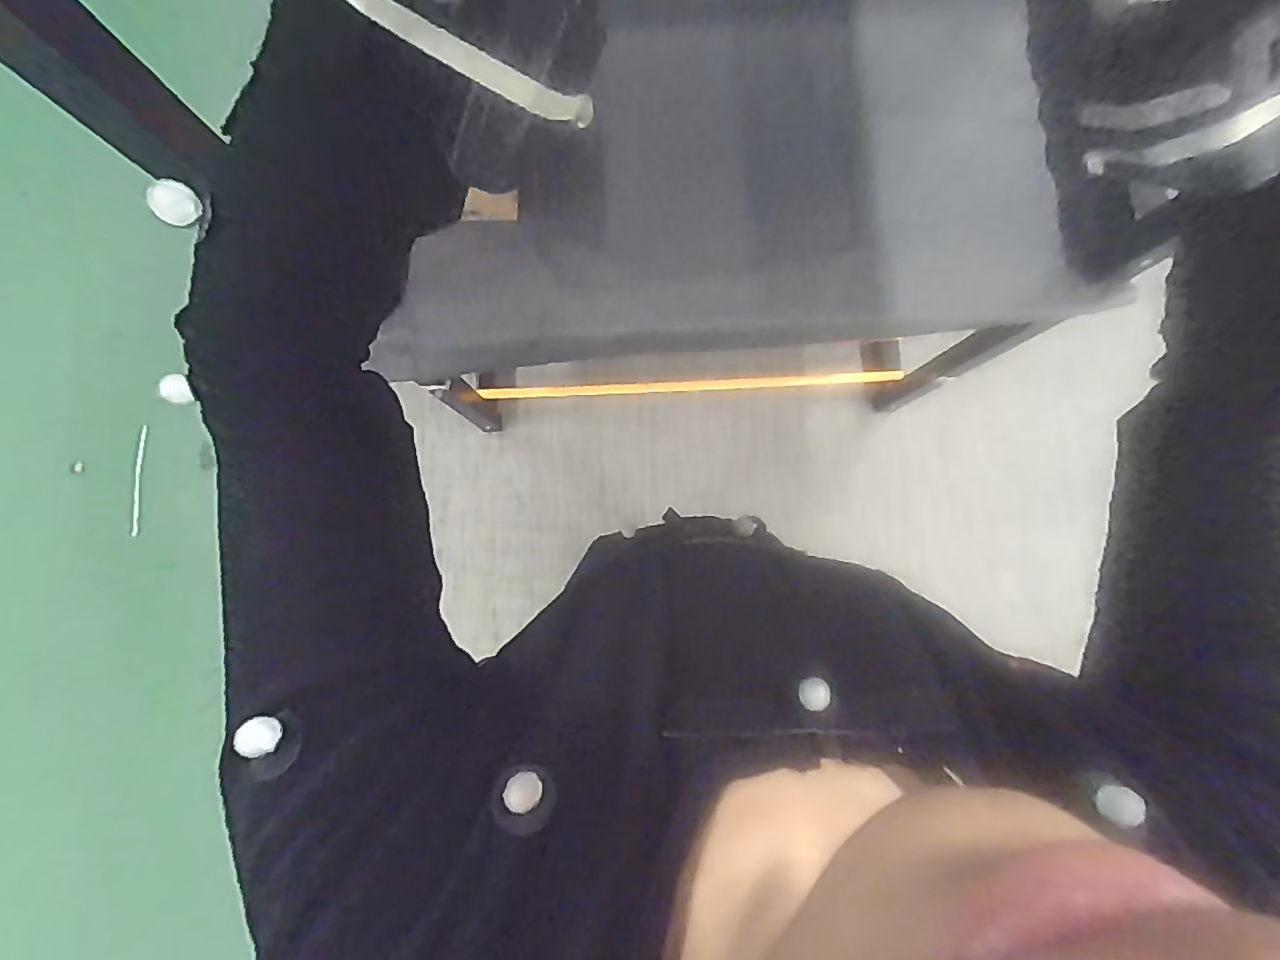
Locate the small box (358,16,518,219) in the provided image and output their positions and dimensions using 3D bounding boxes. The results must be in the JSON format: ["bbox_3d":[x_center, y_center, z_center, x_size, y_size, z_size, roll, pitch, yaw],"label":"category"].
[{"bbox_3d":[-0.272,-0.499,0.763,0.168,0.176,0.179,-2,84,-1],"label":"small box"}]
